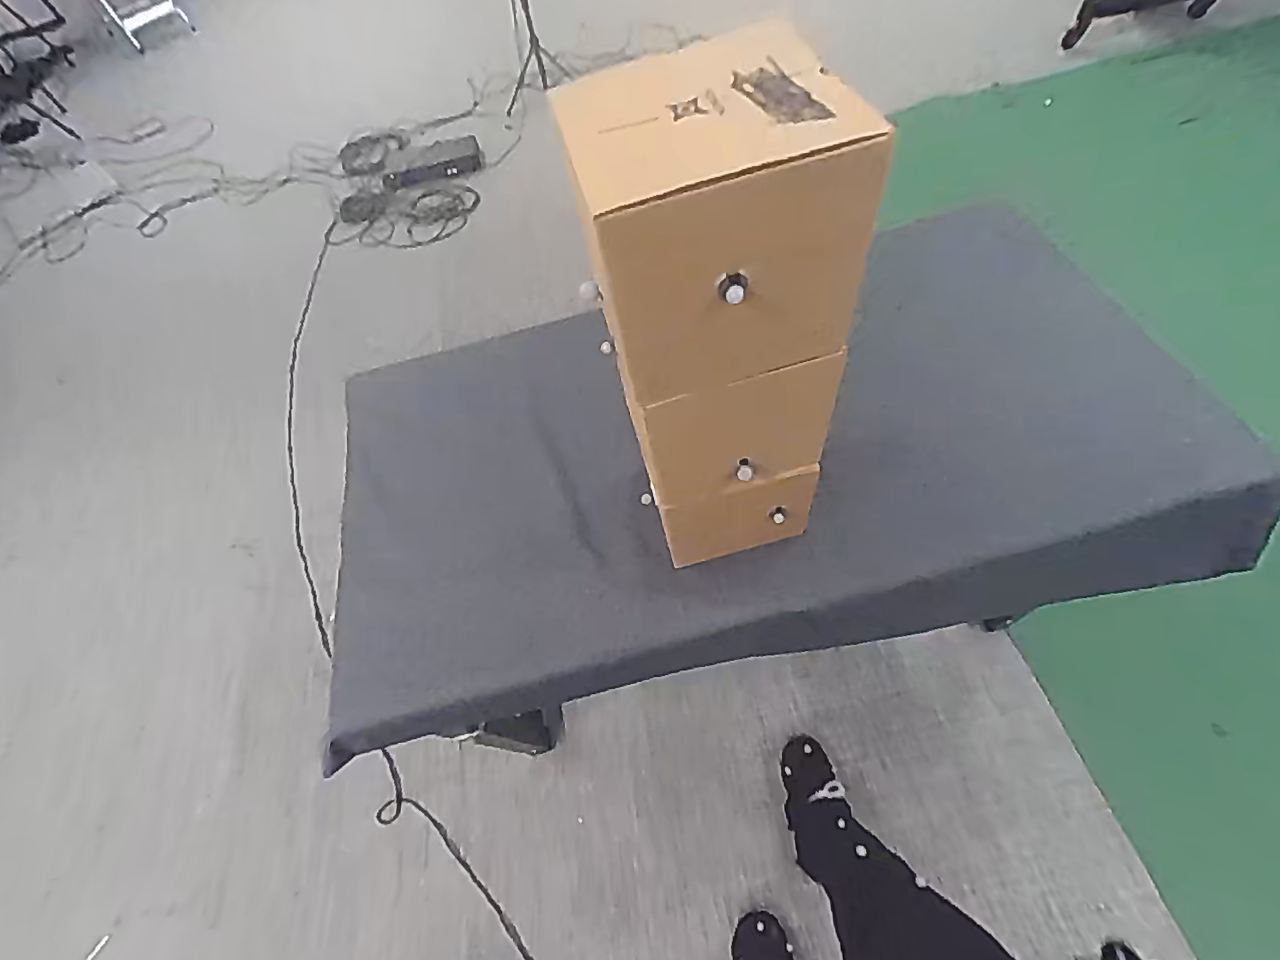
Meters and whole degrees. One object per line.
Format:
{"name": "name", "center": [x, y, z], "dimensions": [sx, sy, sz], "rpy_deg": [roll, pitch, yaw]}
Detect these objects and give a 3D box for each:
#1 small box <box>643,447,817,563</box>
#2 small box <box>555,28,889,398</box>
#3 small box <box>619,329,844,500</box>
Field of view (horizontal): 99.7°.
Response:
{"name": "small box", "center": [0.099, -0.016, 0.684], "dimensions": [0.179, 0.176, 0.168], "rpy_deg": [-16, 57, 0]}
{"name": "small box", "center": [0.050, -0.190, 0.410], "dimensions": [0.179, 0.176, 0.168], "rpy_deg": [-16, 58, 0]}
{"name": "small box", "center": [0.075, -0.104, 0.548], "dimensions": [0.179, 0.176, 0.168], "rpy_deg": [-16, 57, -2]}
